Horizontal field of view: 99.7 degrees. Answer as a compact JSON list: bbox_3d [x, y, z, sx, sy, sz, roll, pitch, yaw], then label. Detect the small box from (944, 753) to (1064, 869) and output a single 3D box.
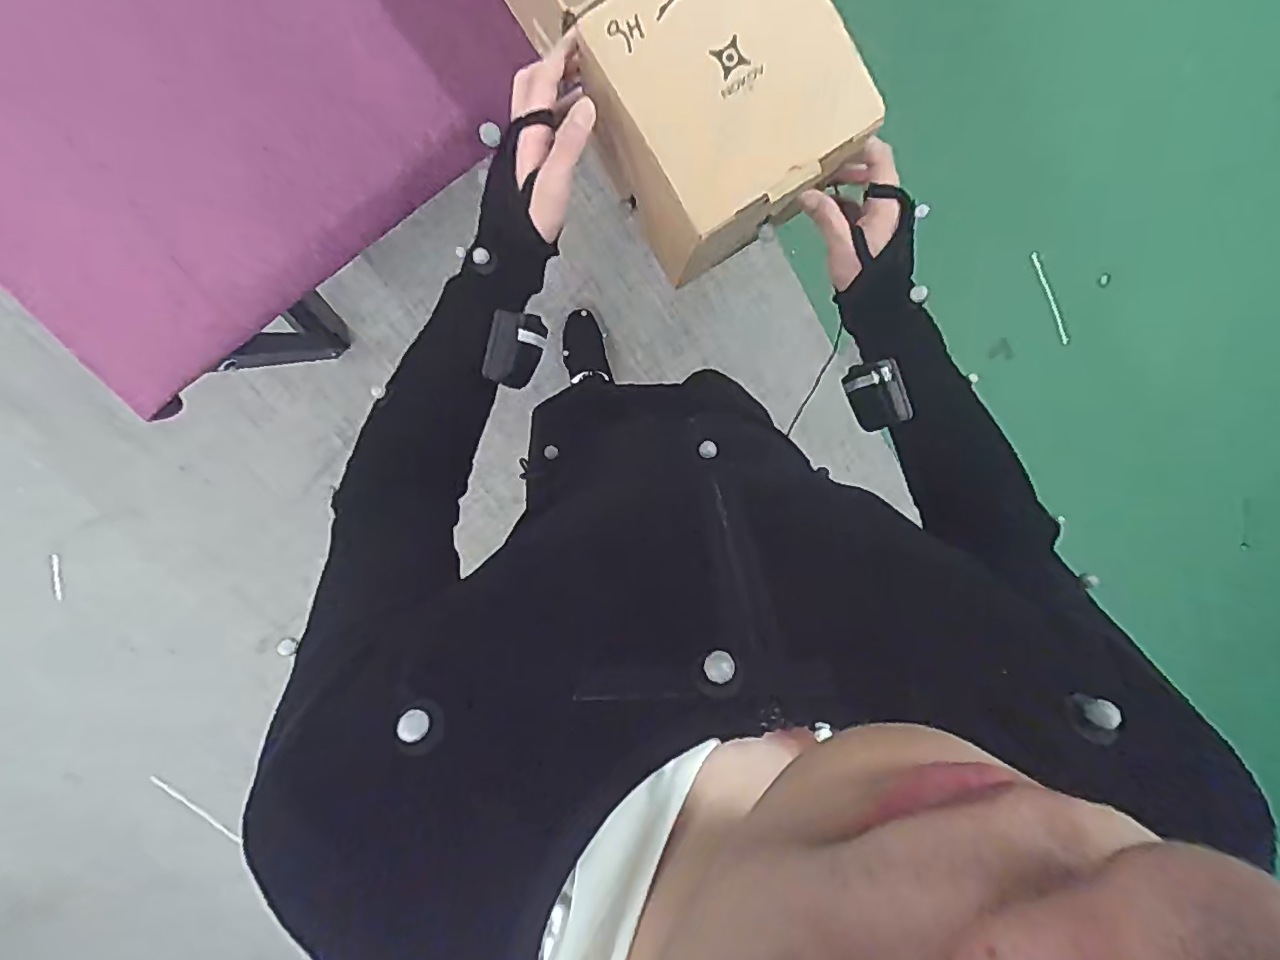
[{"bbox_3d":[0.952,0.874,1.437,0.168,0.176,0.179,25,100,-13],"label":"small box"}]
